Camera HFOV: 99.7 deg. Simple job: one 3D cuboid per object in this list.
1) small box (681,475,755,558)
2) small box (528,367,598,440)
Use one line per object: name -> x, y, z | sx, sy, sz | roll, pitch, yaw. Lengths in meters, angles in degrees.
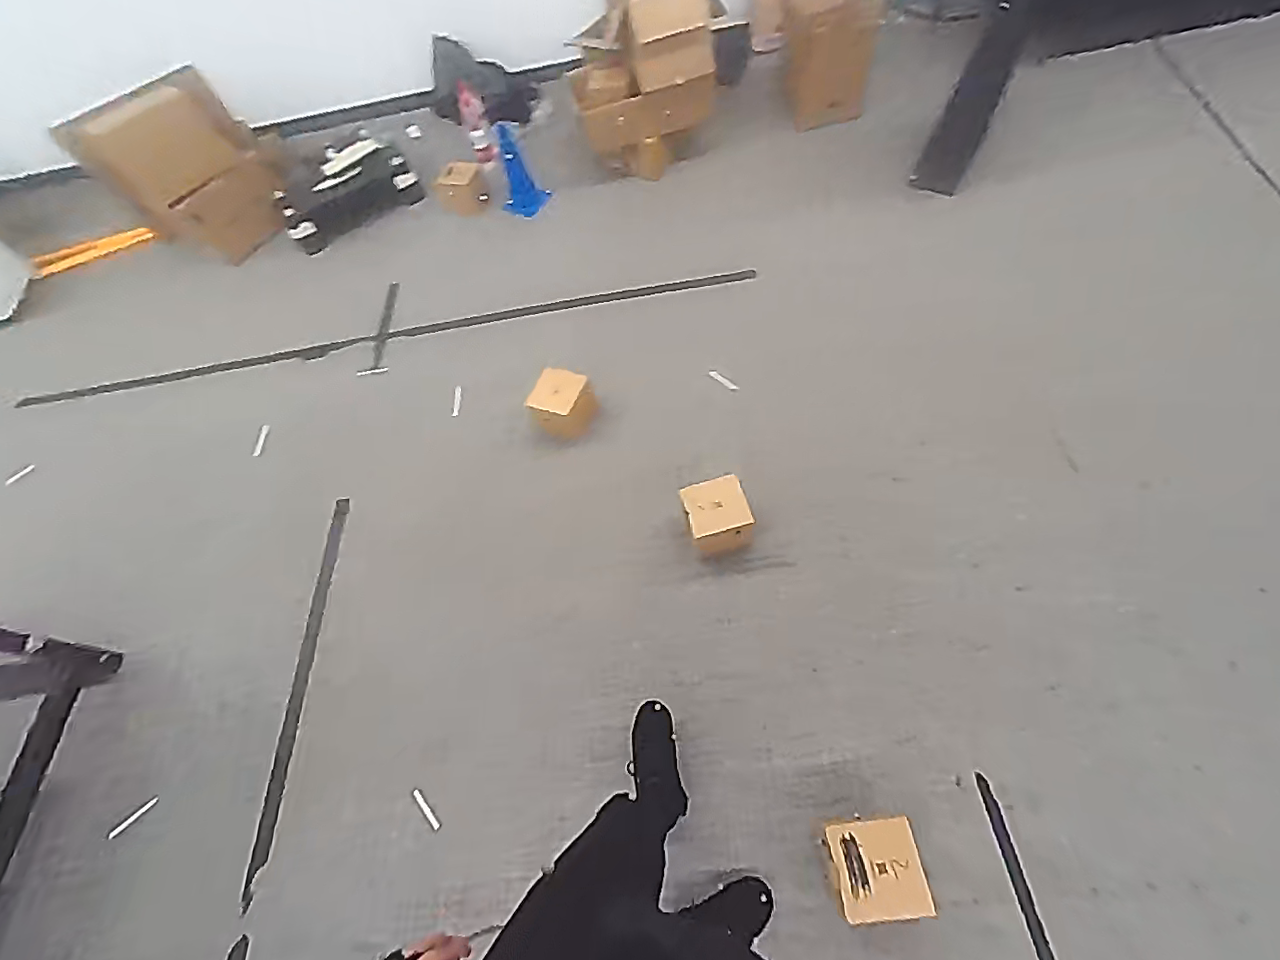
small box -> 0.229, 0.112, 1.610 | 0.179, 0.176, 0.168 | -16, 60, 0
small box -> -0.263, -0.264, 1.900 | 0.168, 0.176, 0.179 | 16, 64, 17
